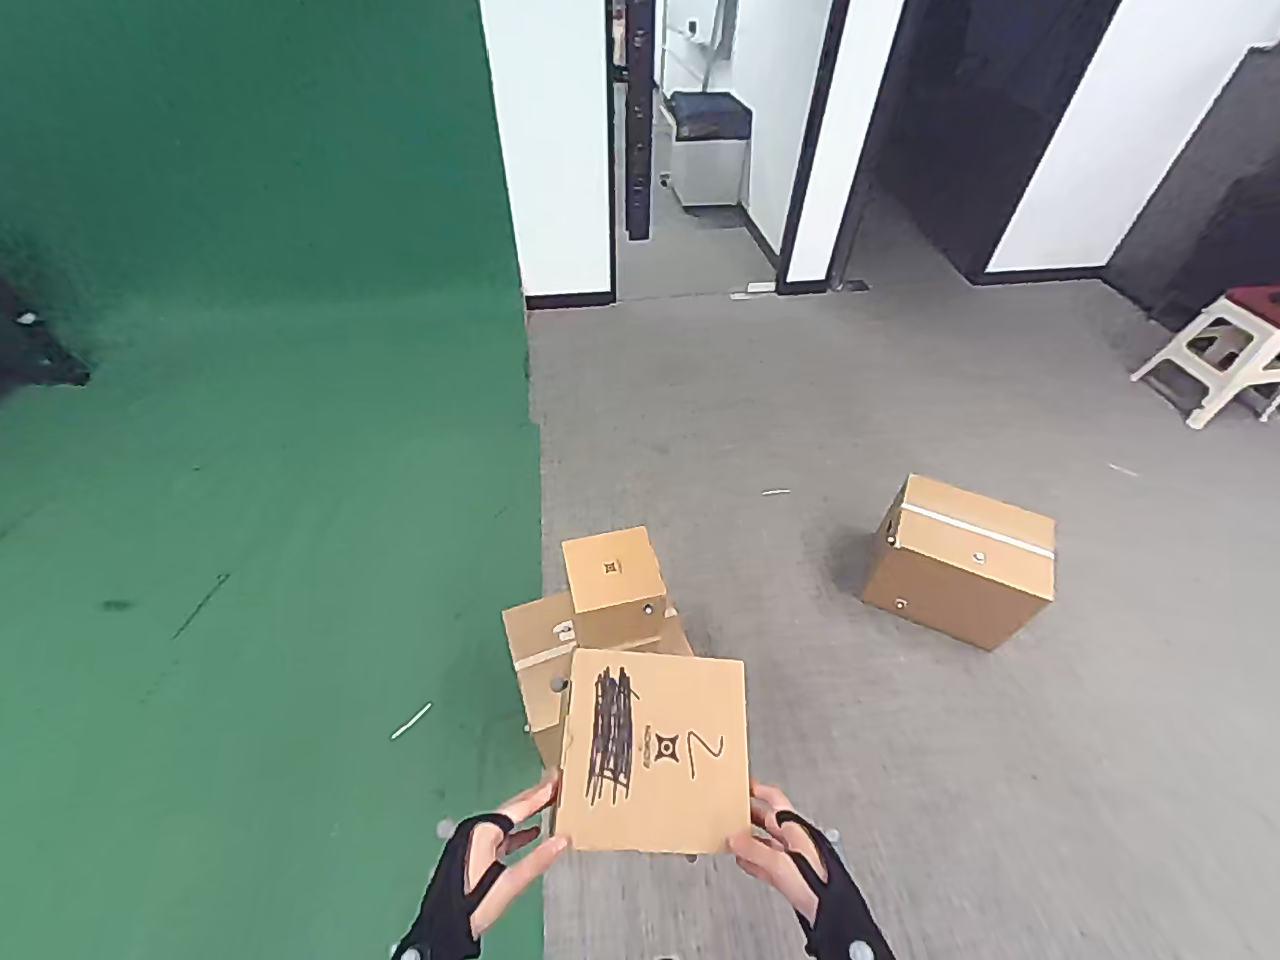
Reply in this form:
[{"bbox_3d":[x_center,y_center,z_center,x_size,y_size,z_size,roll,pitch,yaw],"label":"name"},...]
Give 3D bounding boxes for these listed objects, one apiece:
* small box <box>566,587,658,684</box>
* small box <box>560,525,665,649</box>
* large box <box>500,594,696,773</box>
[{"bbox_3d":[-0.064,0.334,1.202,0.168,0.176,0.179,-10,49,-13],"label":"small box"},{"bbox_3d":[-0.057,0.218,1.089,0.179,0.176,0.168,-9,49,-12],"label":"small box"},{"bbox_3d":[-0.107,0.486,1.395,0.408,0.320,0.320,-16,49,-15],"label":"large box"}]
